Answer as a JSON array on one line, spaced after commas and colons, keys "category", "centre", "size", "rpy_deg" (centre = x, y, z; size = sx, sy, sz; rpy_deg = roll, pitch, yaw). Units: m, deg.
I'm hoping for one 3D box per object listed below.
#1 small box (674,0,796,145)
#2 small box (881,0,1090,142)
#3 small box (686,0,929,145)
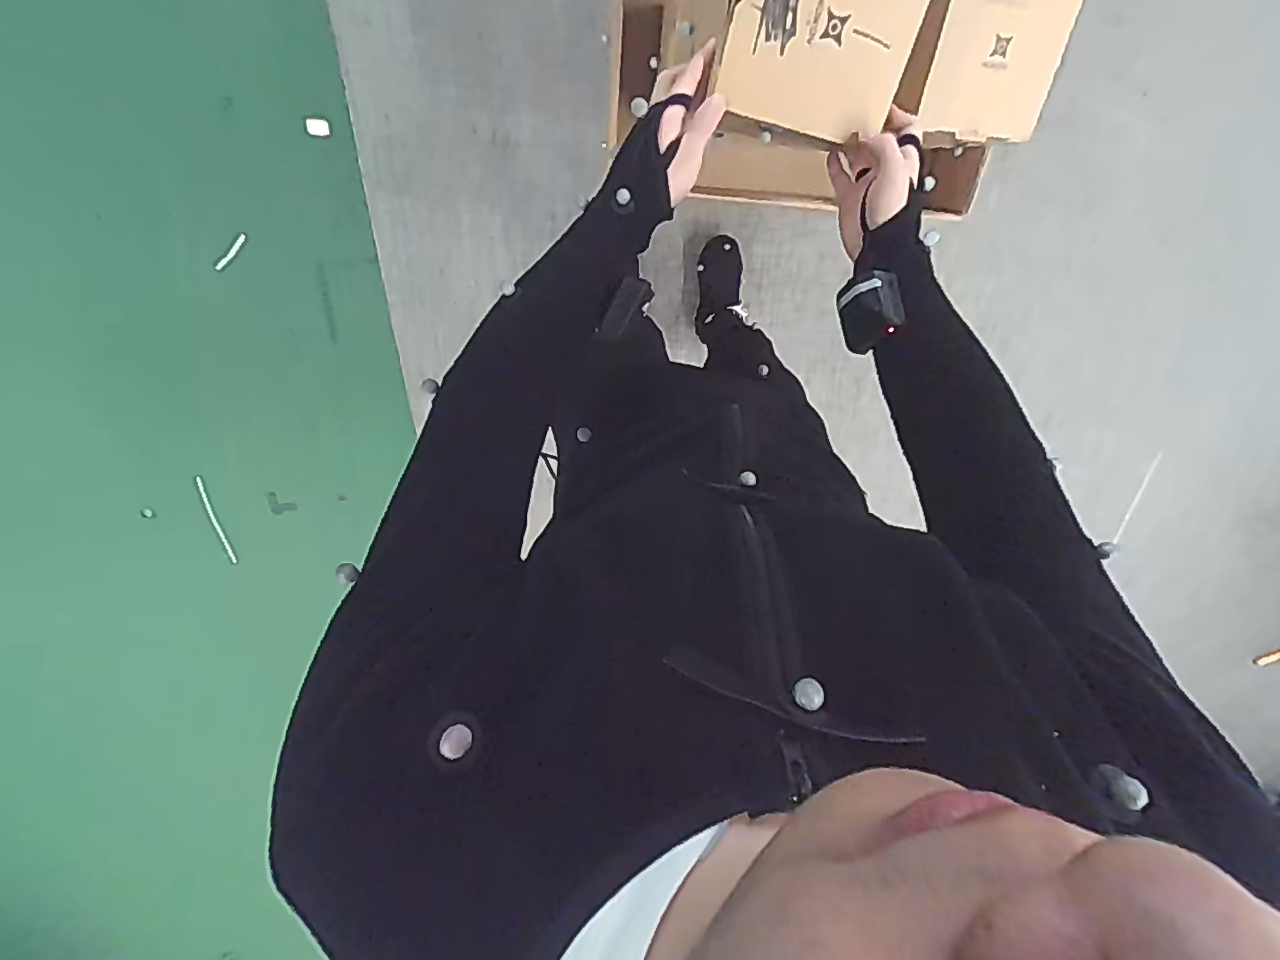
[{"category": "small box", "centre": [0.142, -0.536, 0.683], "size": [0.168, 0.176, 0.179], "rpy_deg": [4, 119, -9]}, {"category": "small box", "centre": [0.421, -0.550, 0.703], "size": [0.168, 0.176, 0.179], "rpy_deg": [1, 120, -8]}, {"category": "small box", "centre": [0.156, -0.448, 0.543], "size": [0.179, 0.176, 0.168], "rpy_deg": [7, 120, -12]}]
